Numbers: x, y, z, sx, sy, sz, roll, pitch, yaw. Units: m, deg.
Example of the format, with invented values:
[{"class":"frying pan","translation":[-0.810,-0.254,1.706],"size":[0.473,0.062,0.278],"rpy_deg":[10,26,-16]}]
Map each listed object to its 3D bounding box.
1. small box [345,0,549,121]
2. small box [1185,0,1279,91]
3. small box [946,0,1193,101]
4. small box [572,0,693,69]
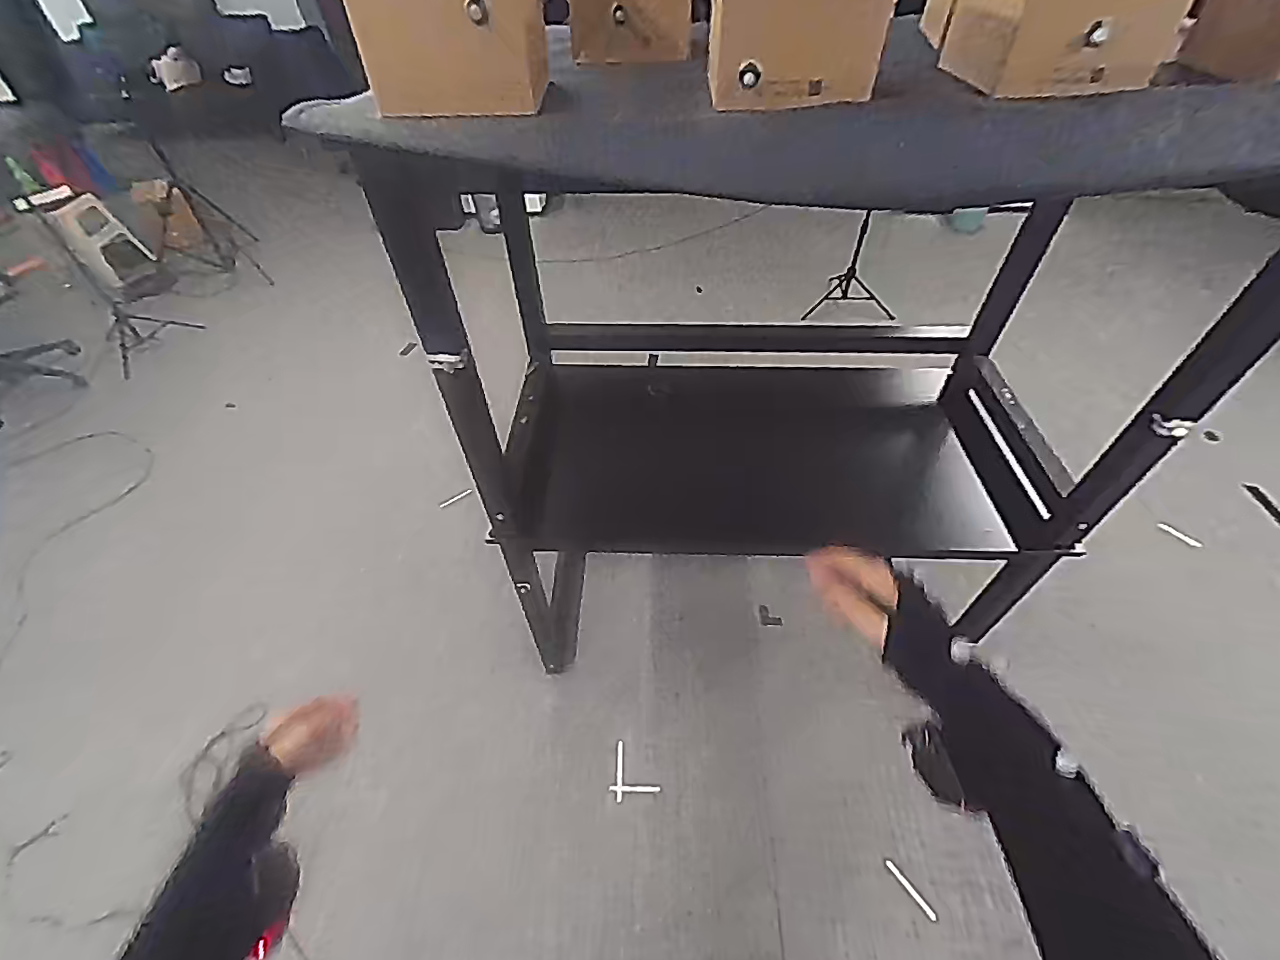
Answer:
[{"class":"small box","translation":[-0.200,-0.510,0.590],"size":[0.179,0.176,0.168],"rpy_deg":[0,47,0]},{"class":"small box","translation":[0.772,-0.536,0.585],"size":[0.168,0.176,0.179],"rpy_deg":[1,47,4]},{"class":"small box","translation":[0.473,-0.539,0.596],"size":[0.168,0.176,0.179],"rpy_deg":[0,47,2]},{"class":"small box","translation":[-0.010,-0.708,0.768],"size":[0.168,0.176,0.179],"rpy_deg":[-1,49,1]}]
